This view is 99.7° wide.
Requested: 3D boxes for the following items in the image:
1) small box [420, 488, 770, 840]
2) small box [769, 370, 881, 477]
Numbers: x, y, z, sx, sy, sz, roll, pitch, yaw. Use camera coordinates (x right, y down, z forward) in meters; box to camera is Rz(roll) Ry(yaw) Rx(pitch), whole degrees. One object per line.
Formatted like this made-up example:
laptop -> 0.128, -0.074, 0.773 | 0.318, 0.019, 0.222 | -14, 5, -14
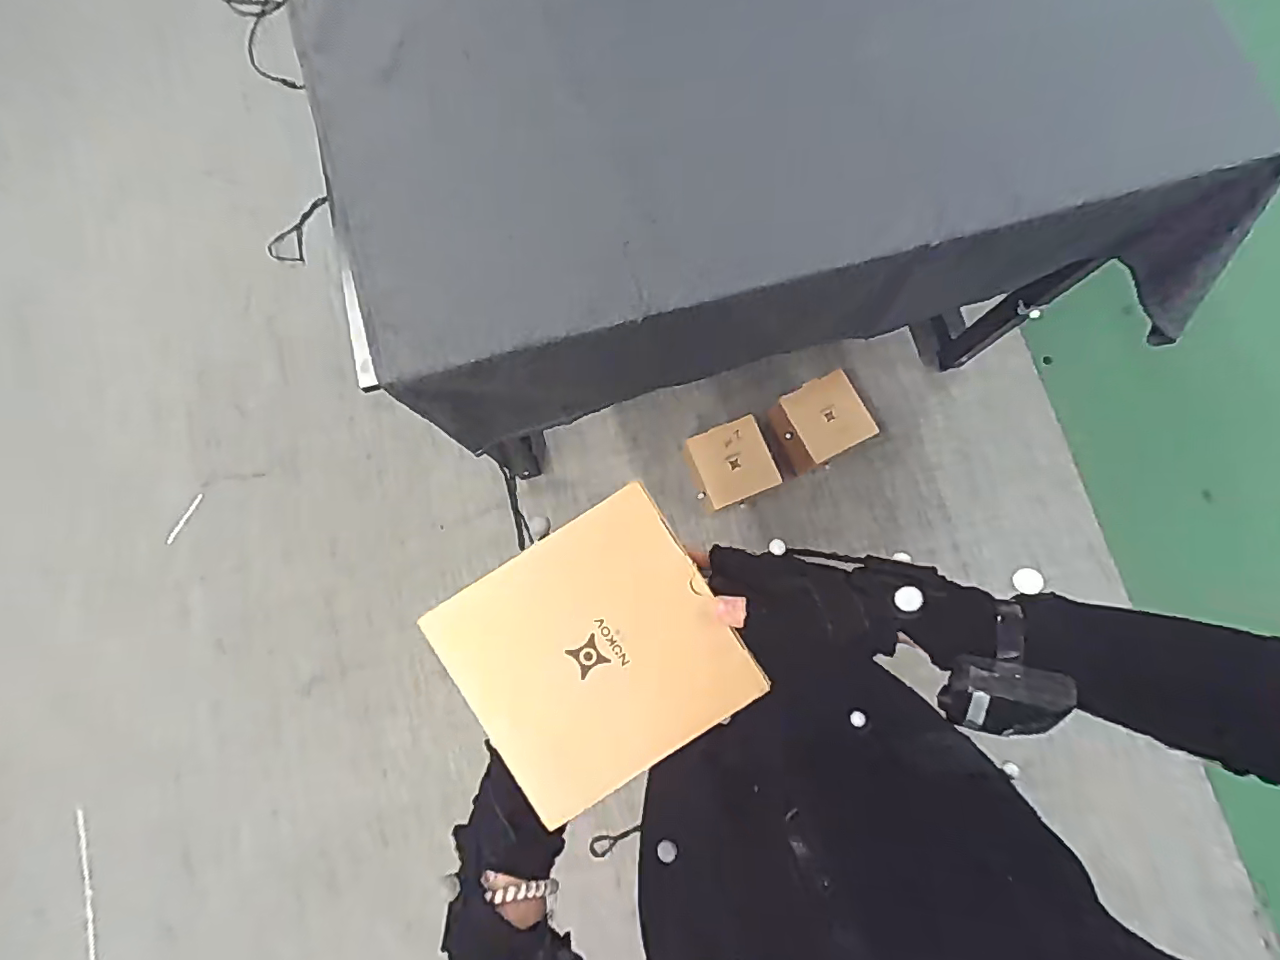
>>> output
small box -> -0.029, 0.121, 0.428 | 0.179, 0.176, 0.168 | -32, 89, -2
small box -> 0.429, -0.128, 1.290 | 0.168, 0.176, 0.179 | -26, 79, -3
